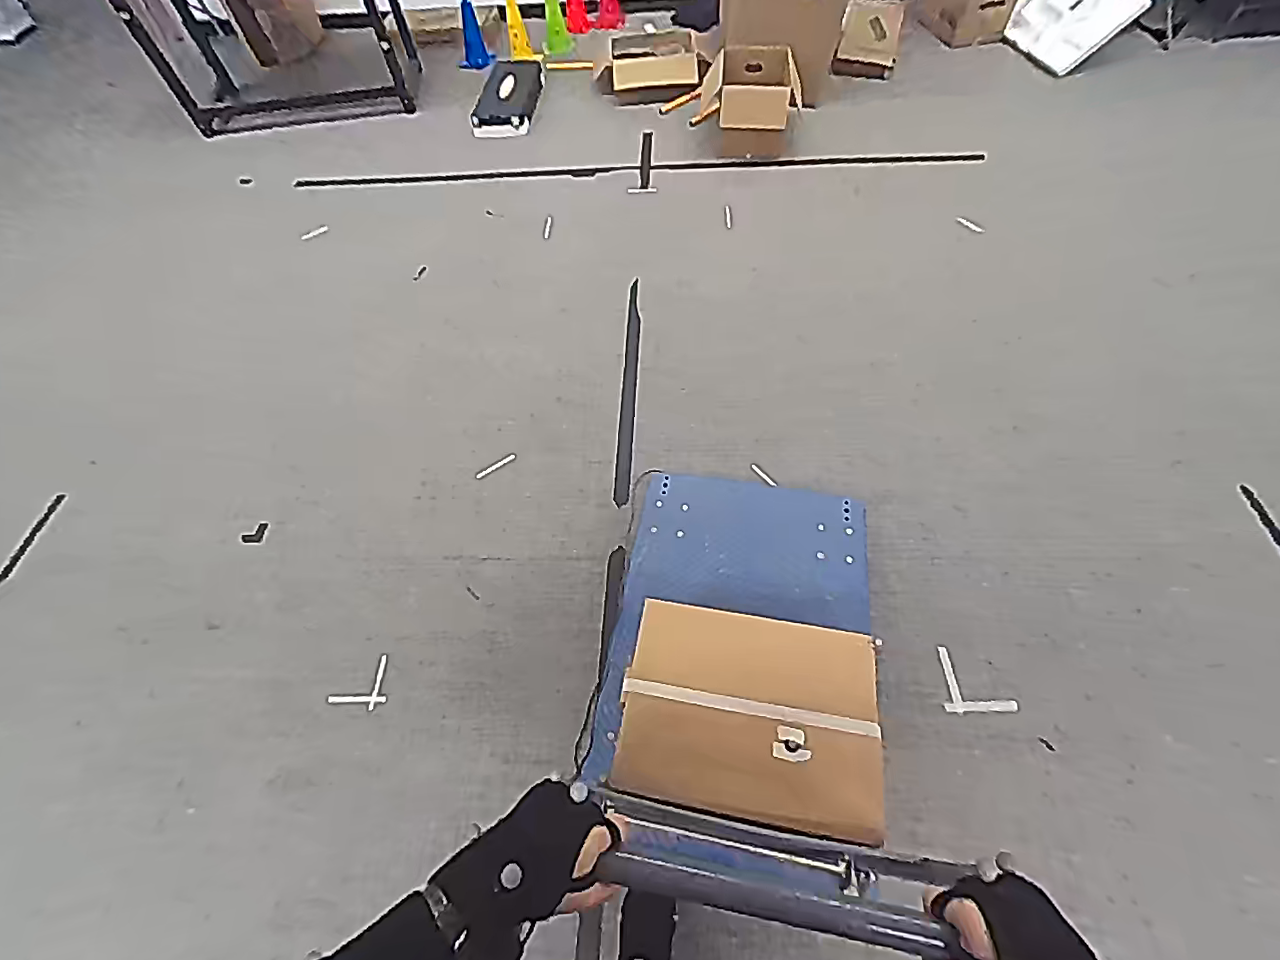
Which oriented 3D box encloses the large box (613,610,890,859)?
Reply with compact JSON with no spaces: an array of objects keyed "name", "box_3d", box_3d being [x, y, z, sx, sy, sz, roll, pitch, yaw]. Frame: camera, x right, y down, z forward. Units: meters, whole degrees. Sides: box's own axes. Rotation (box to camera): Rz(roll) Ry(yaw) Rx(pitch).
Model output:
[{"name":"large box","box_3d":[0.180,0.463,0.978,0.408,0.320,0.320,8,57,7]}]
